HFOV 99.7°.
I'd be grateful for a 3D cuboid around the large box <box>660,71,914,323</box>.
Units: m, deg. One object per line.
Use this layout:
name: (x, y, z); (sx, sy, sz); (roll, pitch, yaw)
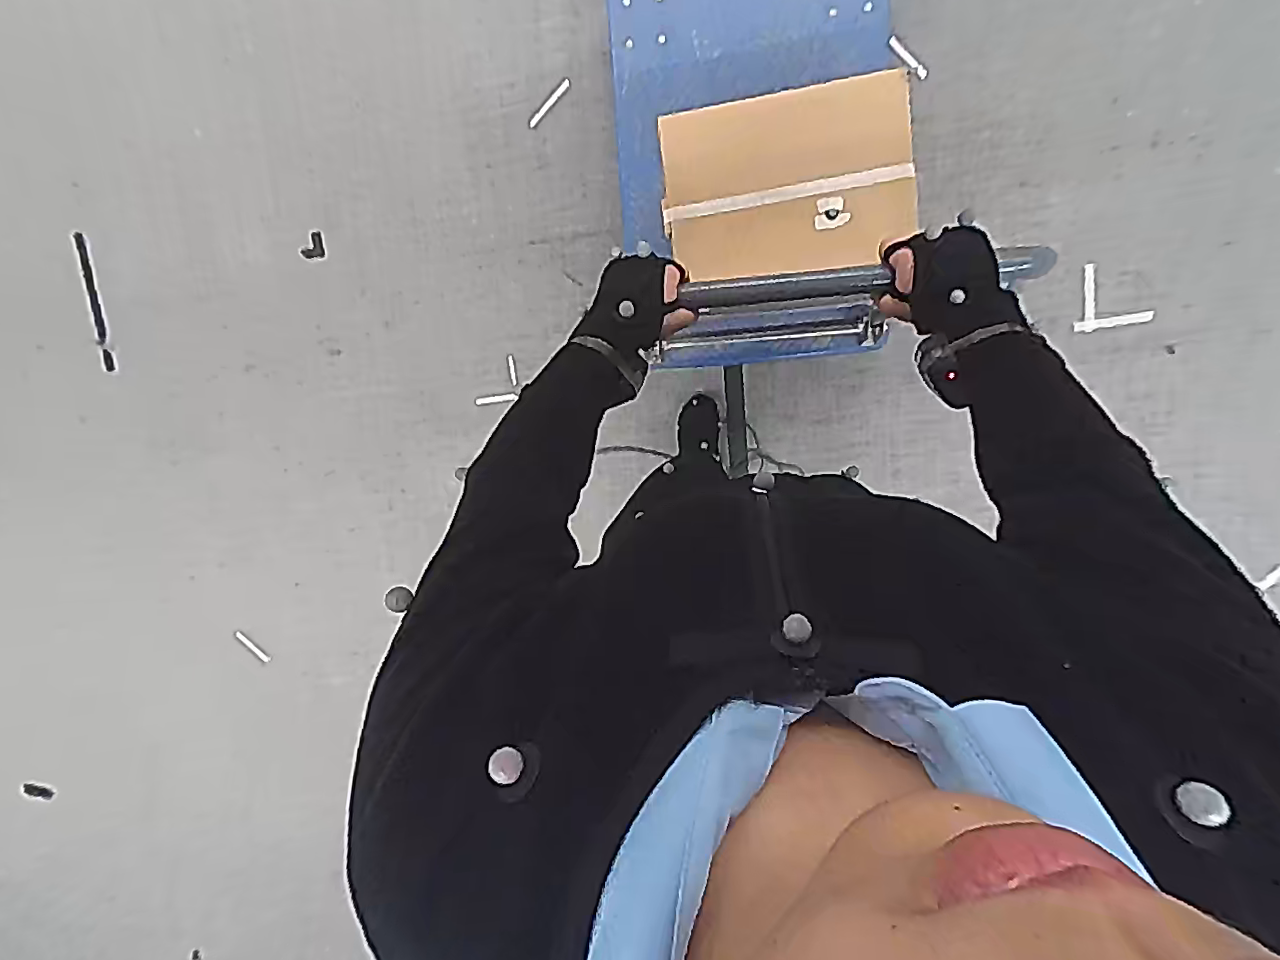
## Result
large box: (0.263, -0.514, 1.067); (0.408, 0.320, 0.320); (-7, 100, 7)
